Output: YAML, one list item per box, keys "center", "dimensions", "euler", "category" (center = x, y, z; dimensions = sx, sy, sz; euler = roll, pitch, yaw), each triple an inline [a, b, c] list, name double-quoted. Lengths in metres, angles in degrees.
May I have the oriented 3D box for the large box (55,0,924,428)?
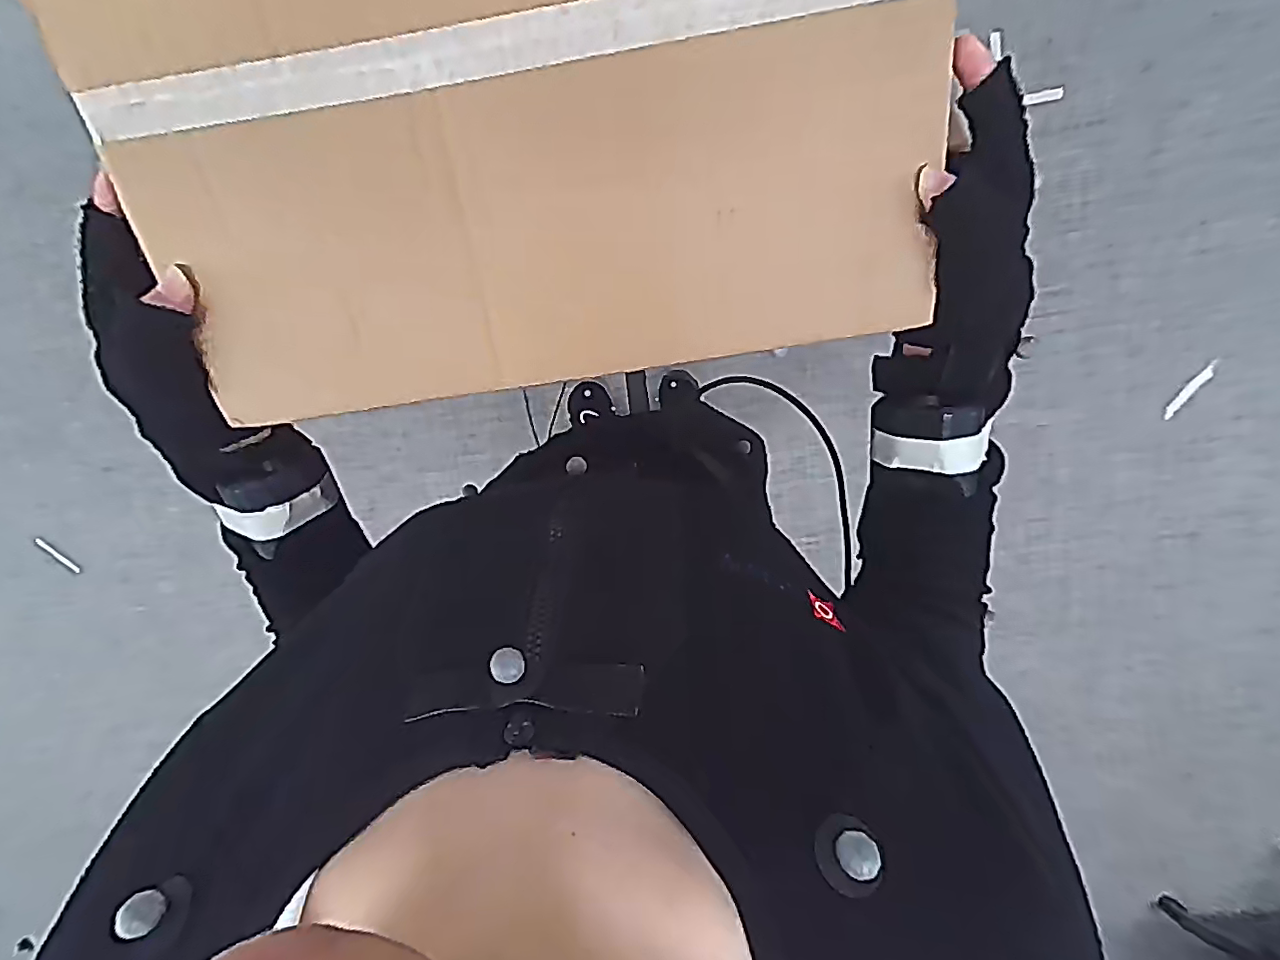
- center: [-0.063, -0.259, 0.395]
  dimensions: [0.408, 0.320, 0.320]
  euler: [-8, 112, 3]
  category: "large box"
